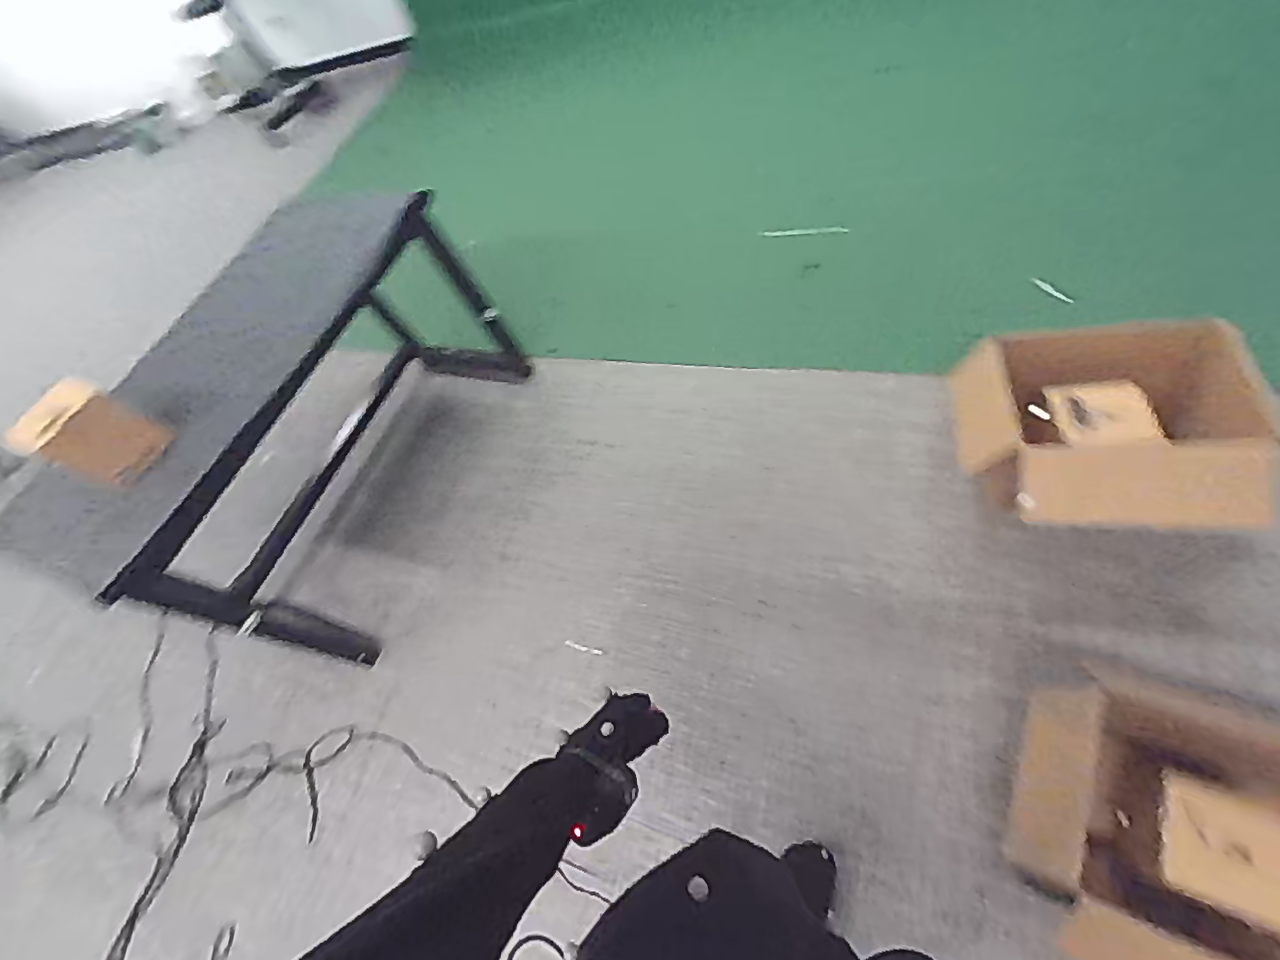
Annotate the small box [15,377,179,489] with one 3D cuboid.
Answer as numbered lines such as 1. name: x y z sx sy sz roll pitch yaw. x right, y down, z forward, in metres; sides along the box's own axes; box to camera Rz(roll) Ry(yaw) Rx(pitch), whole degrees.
1. small box: -1.181 -0.100 1.190 0.179 0.176 0.168 15 66 27
